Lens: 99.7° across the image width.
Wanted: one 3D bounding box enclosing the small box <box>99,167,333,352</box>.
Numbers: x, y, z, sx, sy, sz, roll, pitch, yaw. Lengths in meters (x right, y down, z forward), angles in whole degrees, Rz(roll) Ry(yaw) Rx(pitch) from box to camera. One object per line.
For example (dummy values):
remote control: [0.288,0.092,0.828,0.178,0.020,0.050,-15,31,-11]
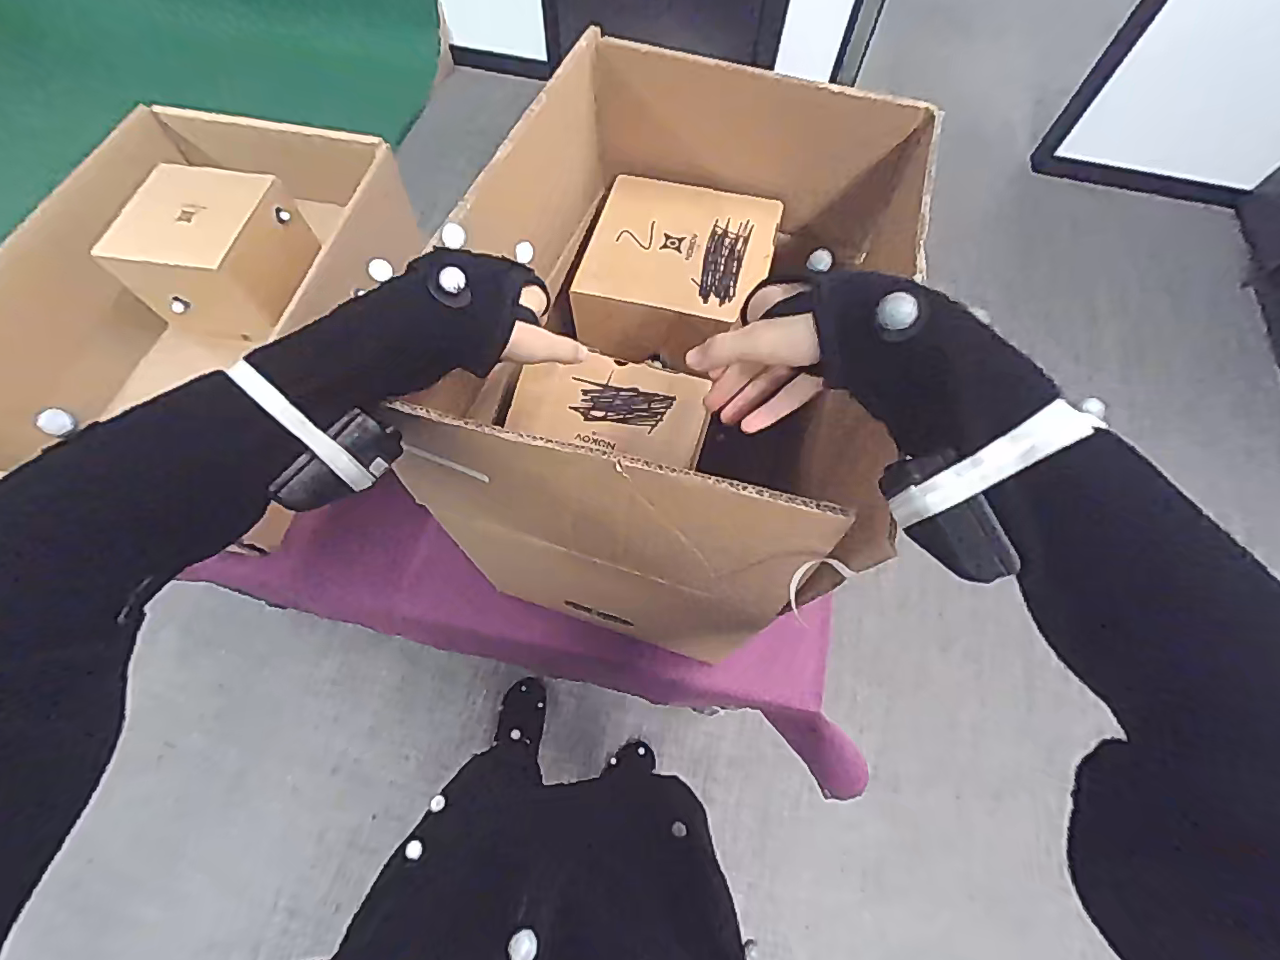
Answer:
small box: [-0.577,-0.305,0.769,0.168,0.176,0.179,7,65,3]
